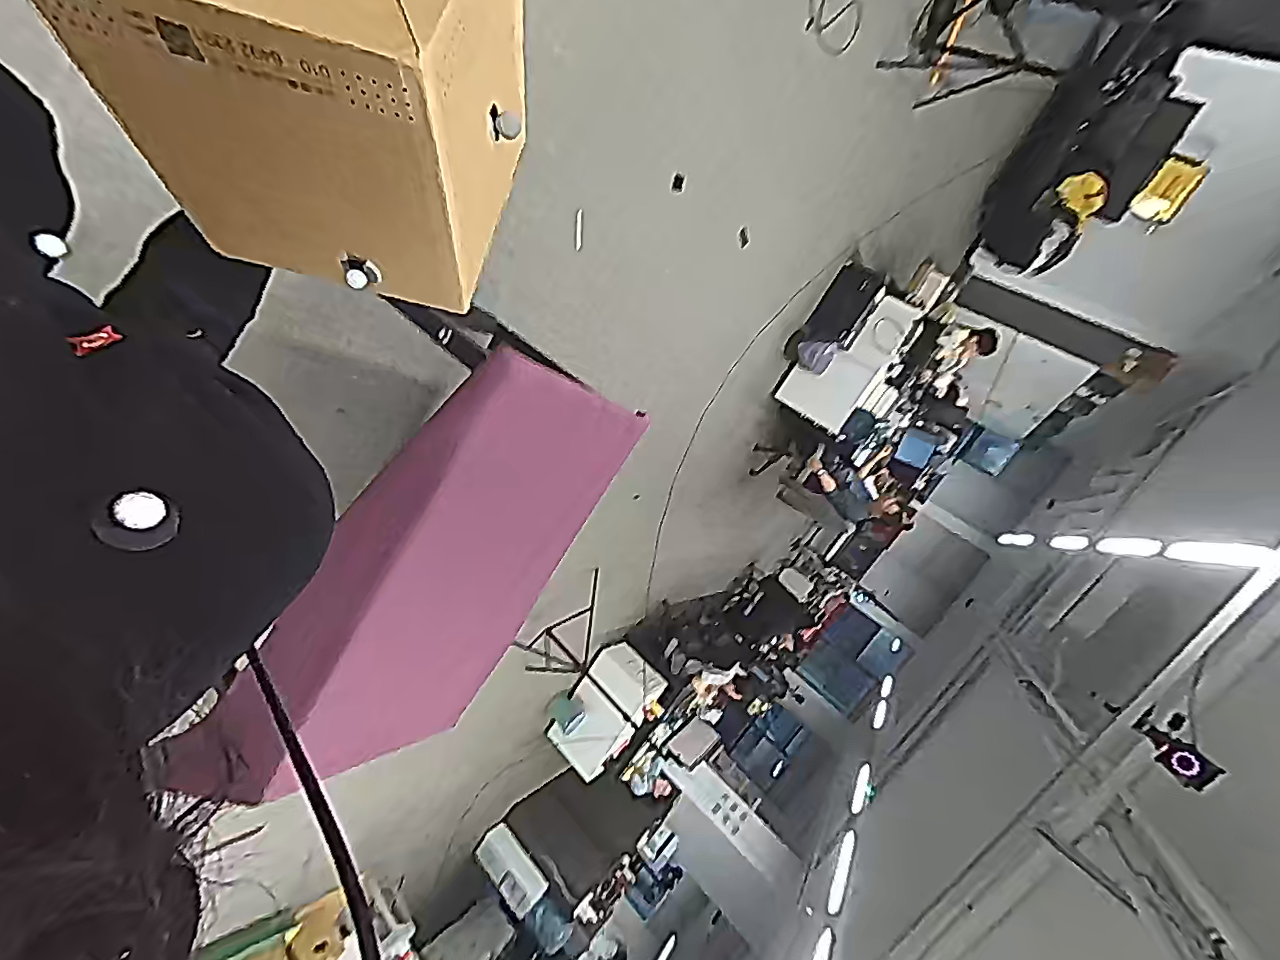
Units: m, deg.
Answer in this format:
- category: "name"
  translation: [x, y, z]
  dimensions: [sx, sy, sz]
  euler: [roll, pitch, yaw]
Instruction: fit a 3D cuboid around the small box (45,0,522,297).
- category: "small box"
  translation: [-0.166, -0.244, 0.307]
  dimensions: [0.176, 0.168, 0.179]
  euler: [119, -18, -69]
